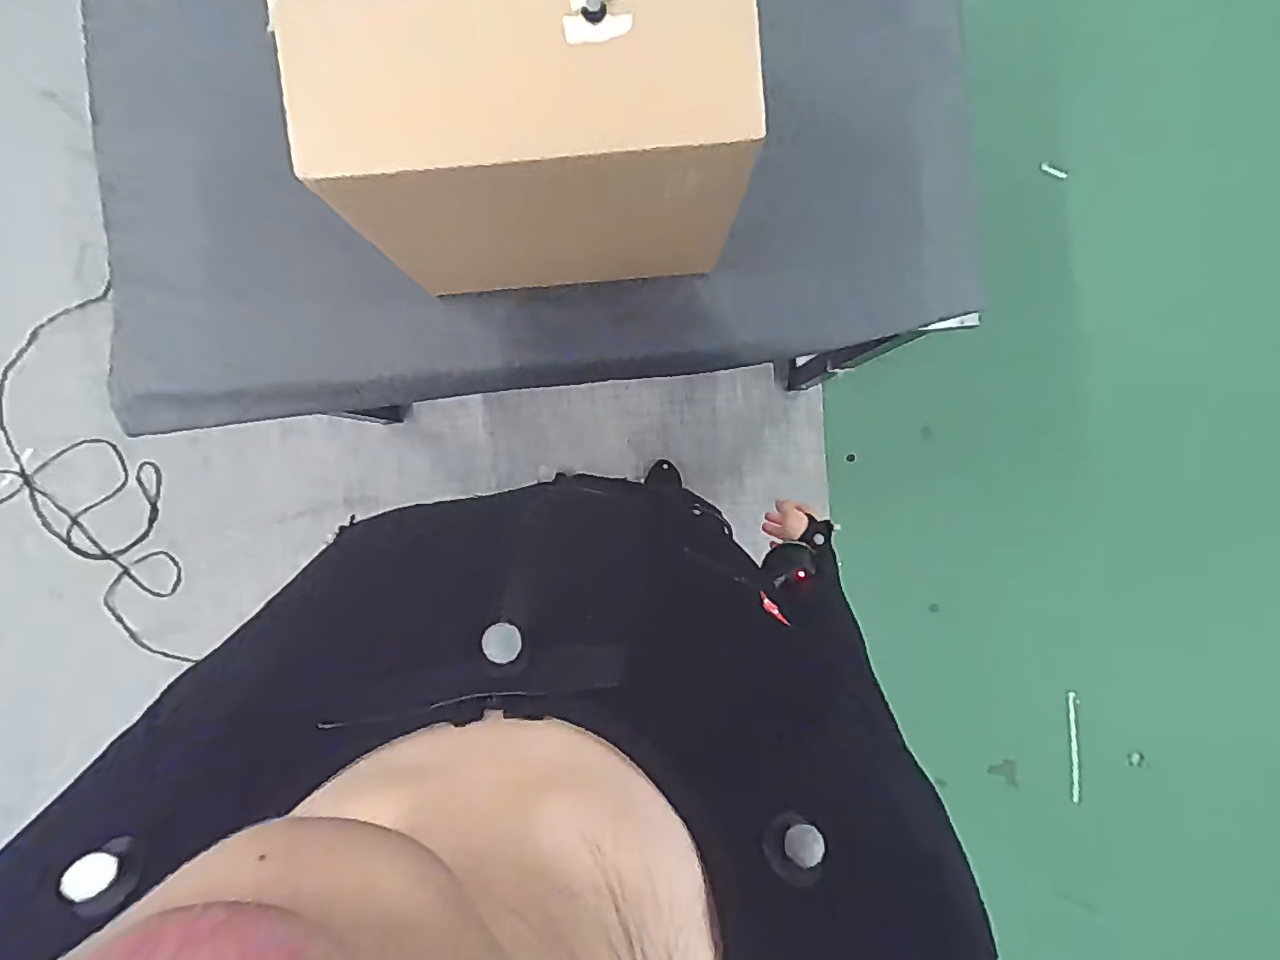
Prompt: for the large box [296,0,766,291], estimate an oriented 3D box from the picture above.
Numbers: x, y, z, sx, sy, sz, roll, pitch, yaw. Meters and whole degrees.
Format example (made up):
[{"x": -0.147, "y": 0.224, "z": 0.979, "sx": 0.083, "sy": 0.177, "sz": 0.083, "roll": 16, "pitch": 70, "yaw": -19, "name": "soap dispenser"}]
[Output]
[{"x": -0.106, "y": -0.436, "z": 0.620, "sx": 0.408, "sy": 0.320, "sz": 0.320, "roll": -6, "pitch": 92, "yaw": -1, "name": "large box"}]
